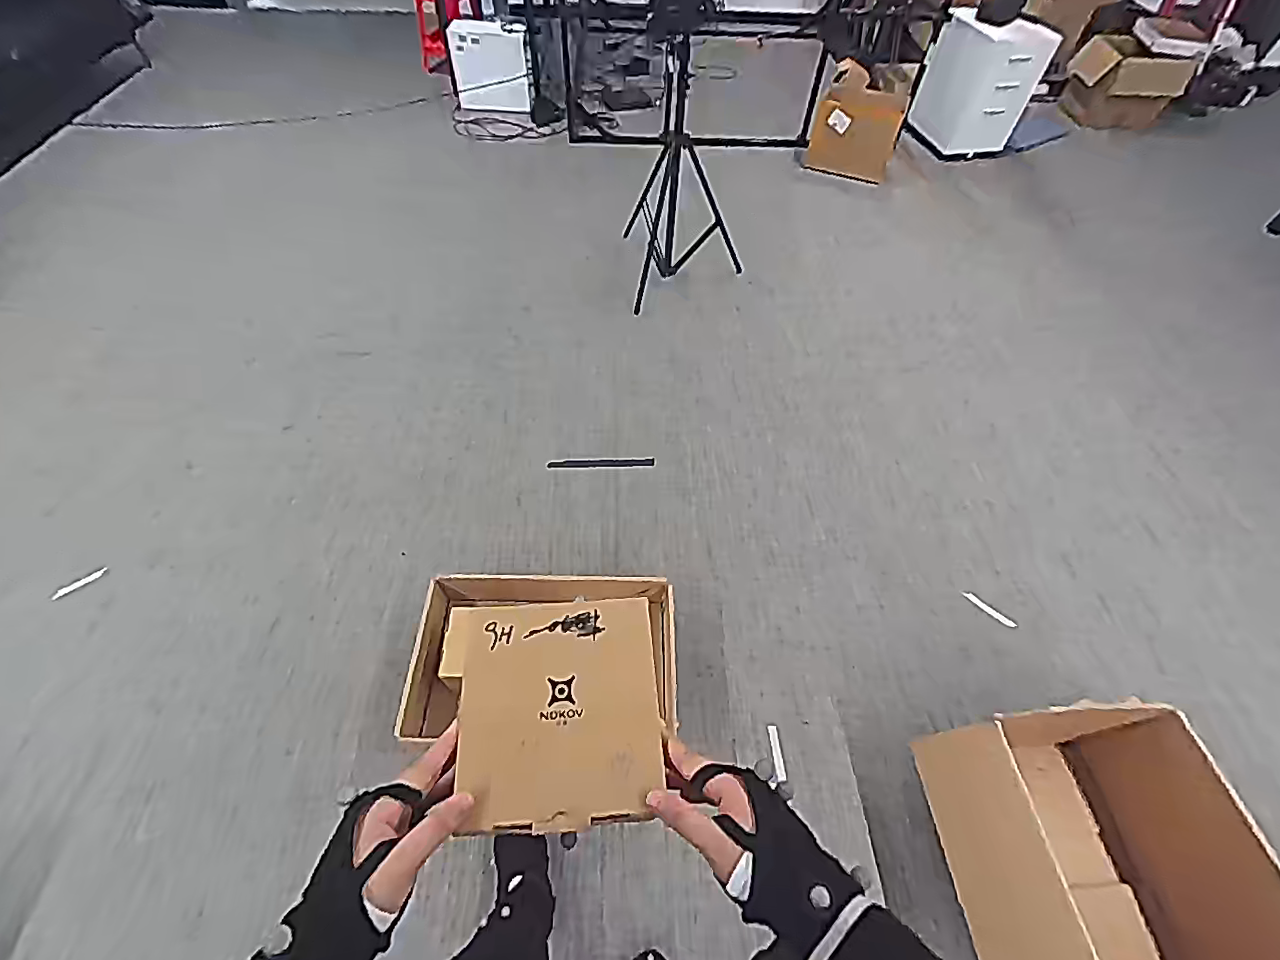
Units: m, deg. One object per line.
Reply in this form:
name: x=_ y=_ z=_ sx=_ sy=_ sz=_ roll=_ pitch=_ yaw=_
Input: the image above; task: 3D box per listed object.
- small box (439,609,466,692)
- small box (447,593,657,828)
small box: x=-0.373 y=0.428 z=1.333 sx=0.179 sy=0.176 sz=0.168 roll=1 pitch=56 yaw=-3
small box: x=-0.074 y=0.225 z=0.525 sx=0.168 sy=0.176 sz=0.179 roll=-3 pitch=58 yaw=-5
